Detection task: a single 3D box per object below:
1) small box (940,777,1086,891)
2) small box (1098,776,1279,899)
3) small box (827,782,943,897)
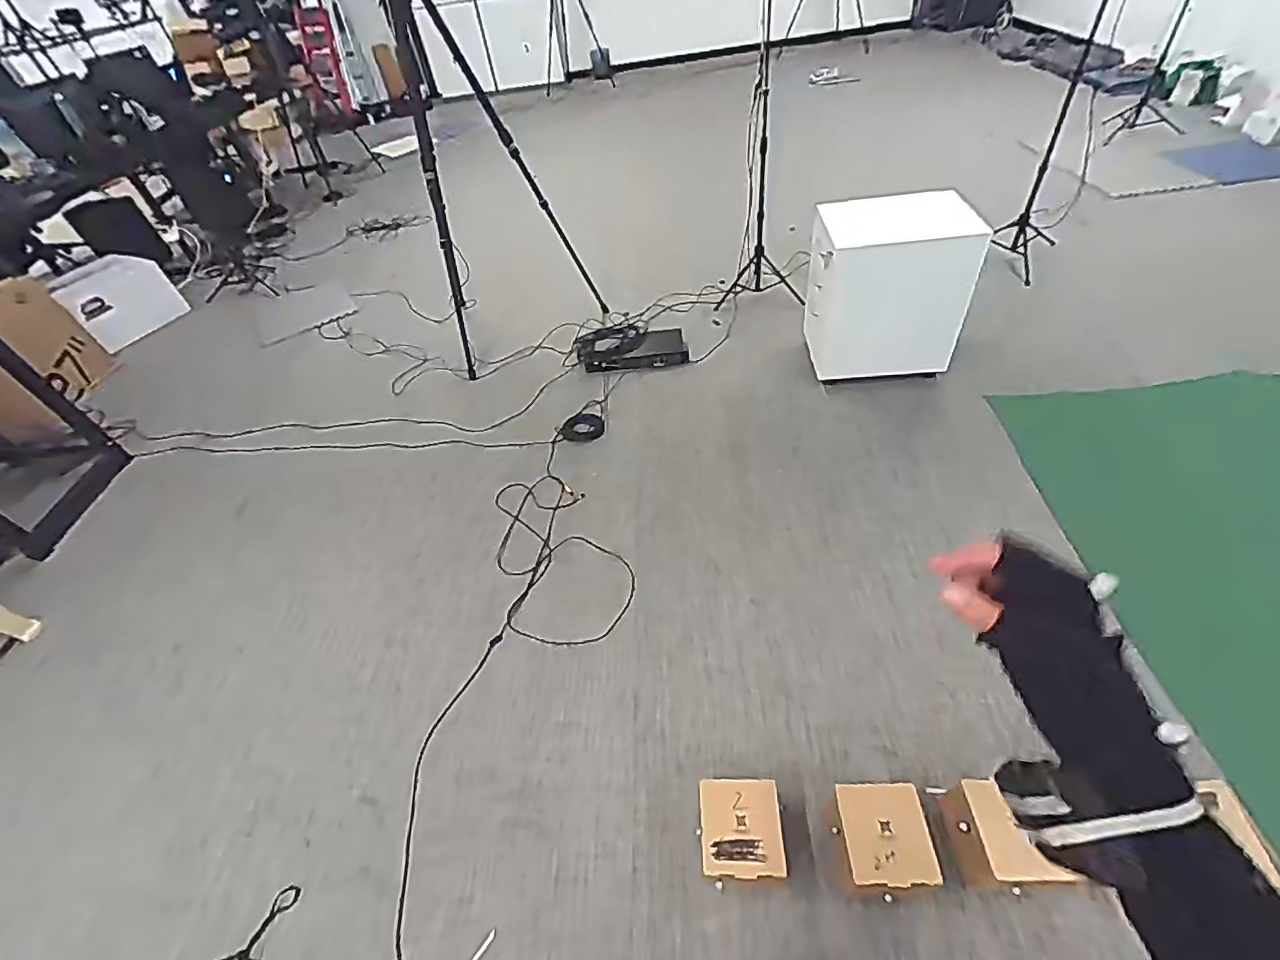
[{"bbox_3d":[0.755,0.735,1.118,0.168,0.176,0.179,-5,46,4],"label":"small box"},{"bbox_3d":[1.078,0.715,1.083,0.168,0.176,0.179,-2,47,8],"label":"small box"},{"bbox_3d":[0.501,0.755,1.136,0.168,0.176,0.179,-5,46,6],"label":"small box"}]
